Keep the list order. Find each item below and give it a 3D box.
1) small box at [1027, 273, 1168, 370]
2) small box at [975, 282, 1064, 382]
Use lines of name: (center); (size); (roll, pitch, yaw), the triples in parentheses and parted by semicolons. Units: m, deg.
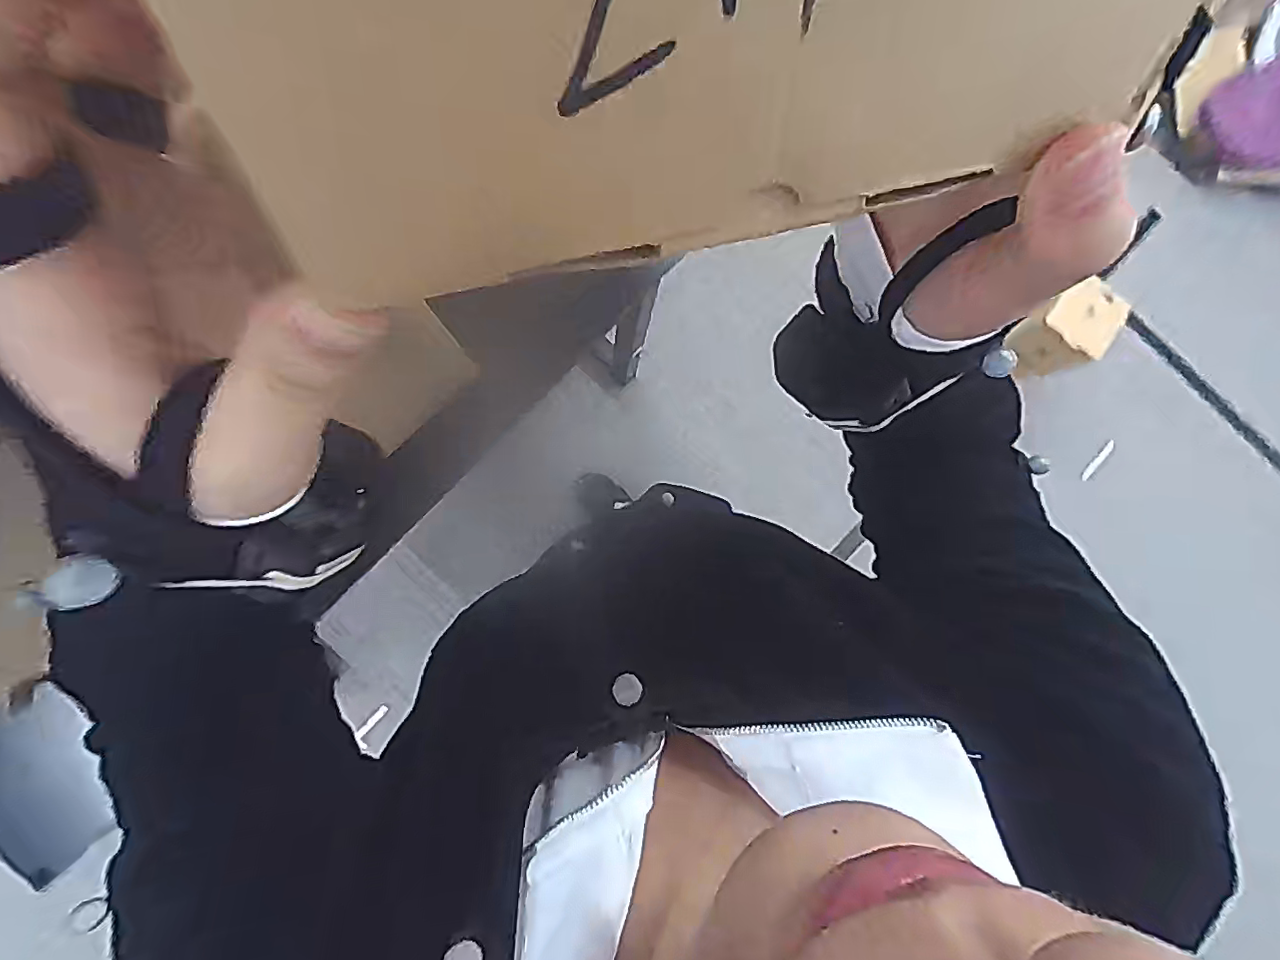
small box: (1.095, -0.394, 1.314); (0.168, 0.176, 0.179); (36, 85, -1)
small box: (1.068, -0.397, 1.477); (0.168, 0.176, 0.179); (37, 85, -1)
